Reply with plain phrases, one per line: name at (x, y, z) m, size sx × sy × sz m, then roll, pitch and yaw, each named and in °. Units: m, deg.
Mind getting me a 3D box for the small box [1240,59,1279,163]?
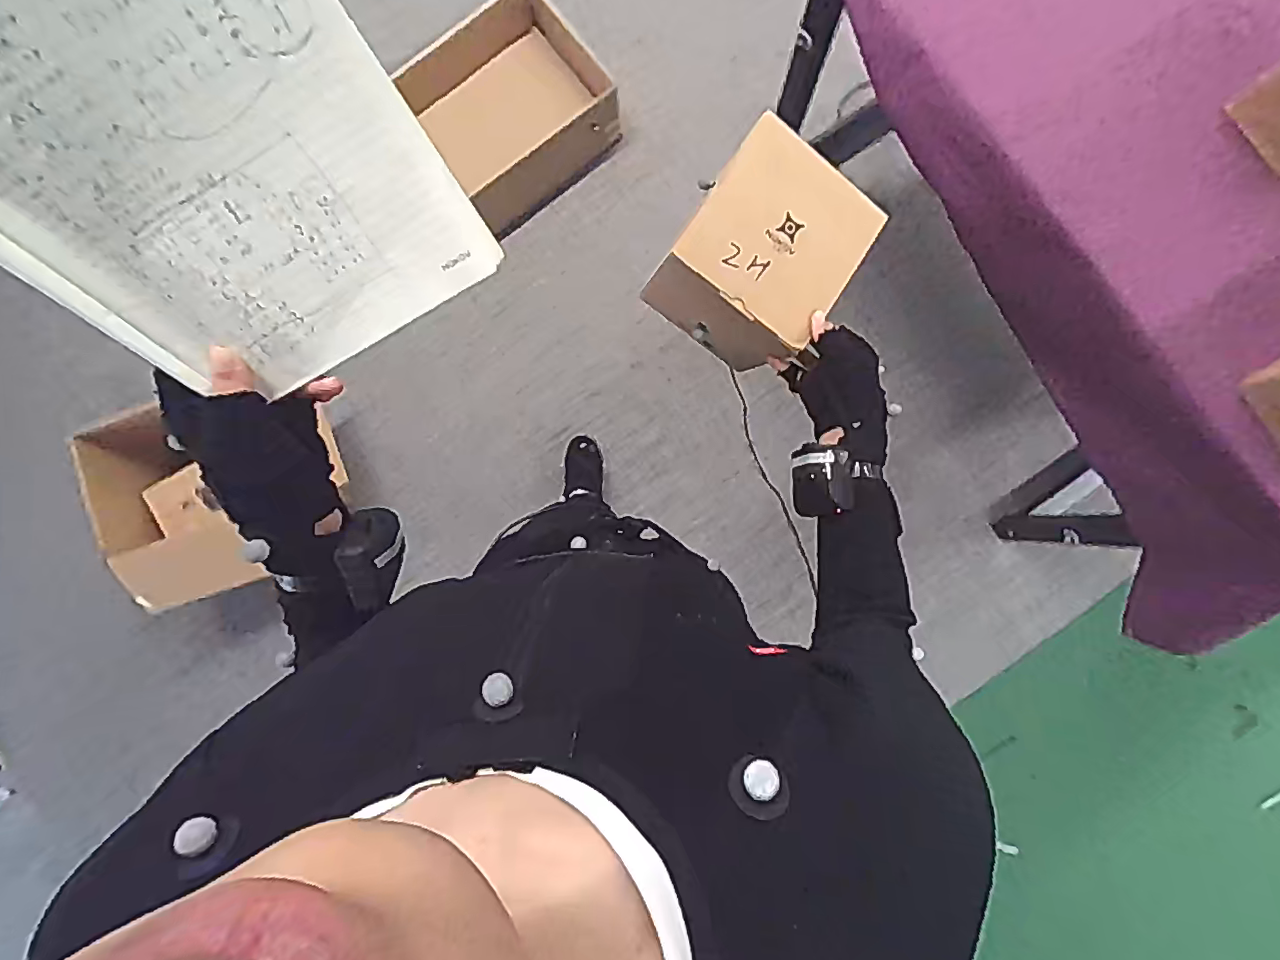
small box at (0.939, -0.525, 0.681) m, size 0.179 × 0.176 × 0.168 m, roll -35°, pitch 86°, yaw -1°
